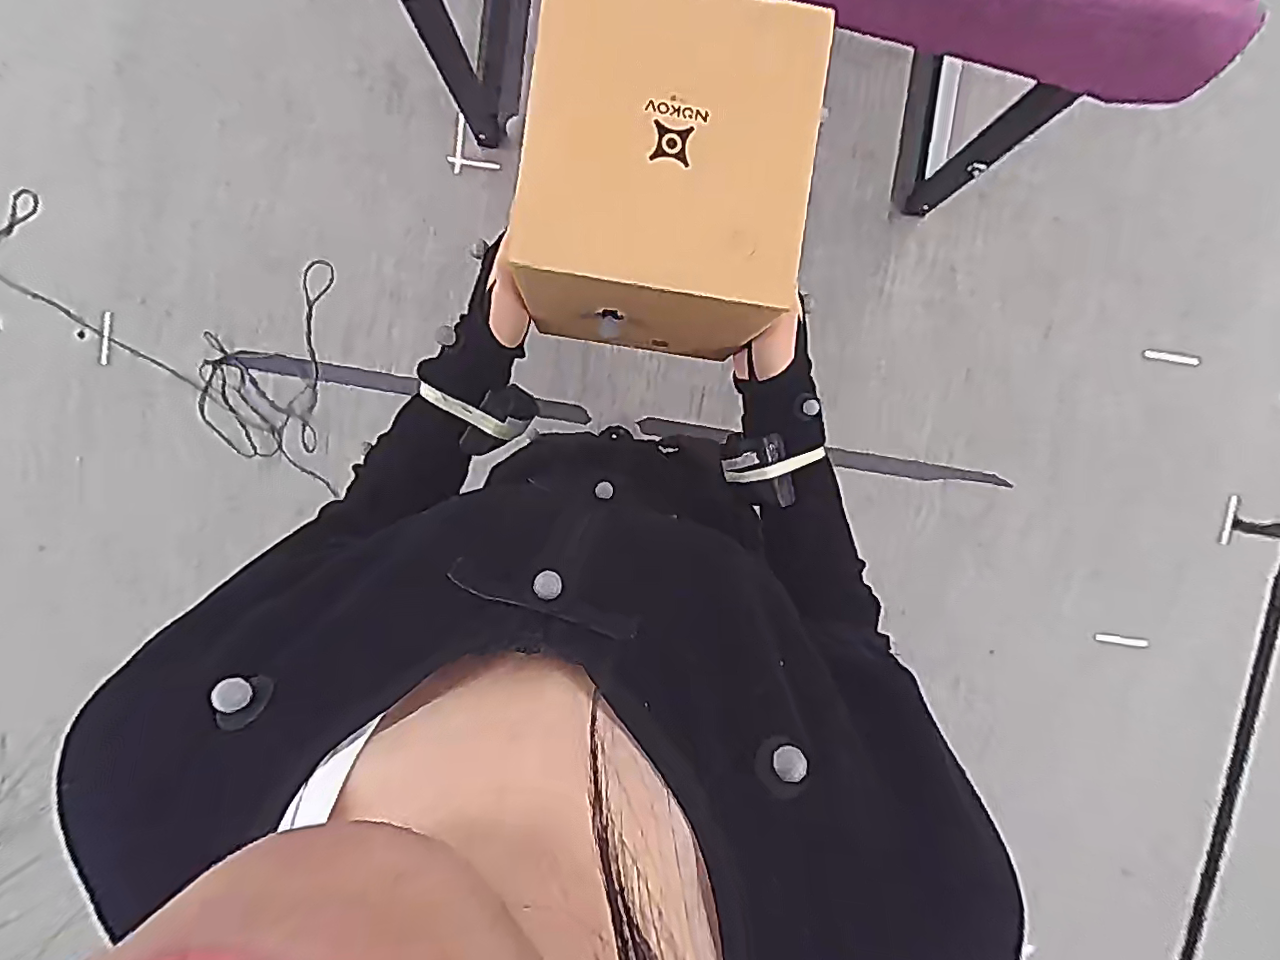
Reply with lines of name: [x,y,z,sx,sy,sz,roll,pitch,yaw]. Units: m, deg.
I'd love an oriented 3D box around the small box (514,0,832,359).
small box: [0.015,-0.196,0.391,0.168,0.176,0.179,8,90,-5]
